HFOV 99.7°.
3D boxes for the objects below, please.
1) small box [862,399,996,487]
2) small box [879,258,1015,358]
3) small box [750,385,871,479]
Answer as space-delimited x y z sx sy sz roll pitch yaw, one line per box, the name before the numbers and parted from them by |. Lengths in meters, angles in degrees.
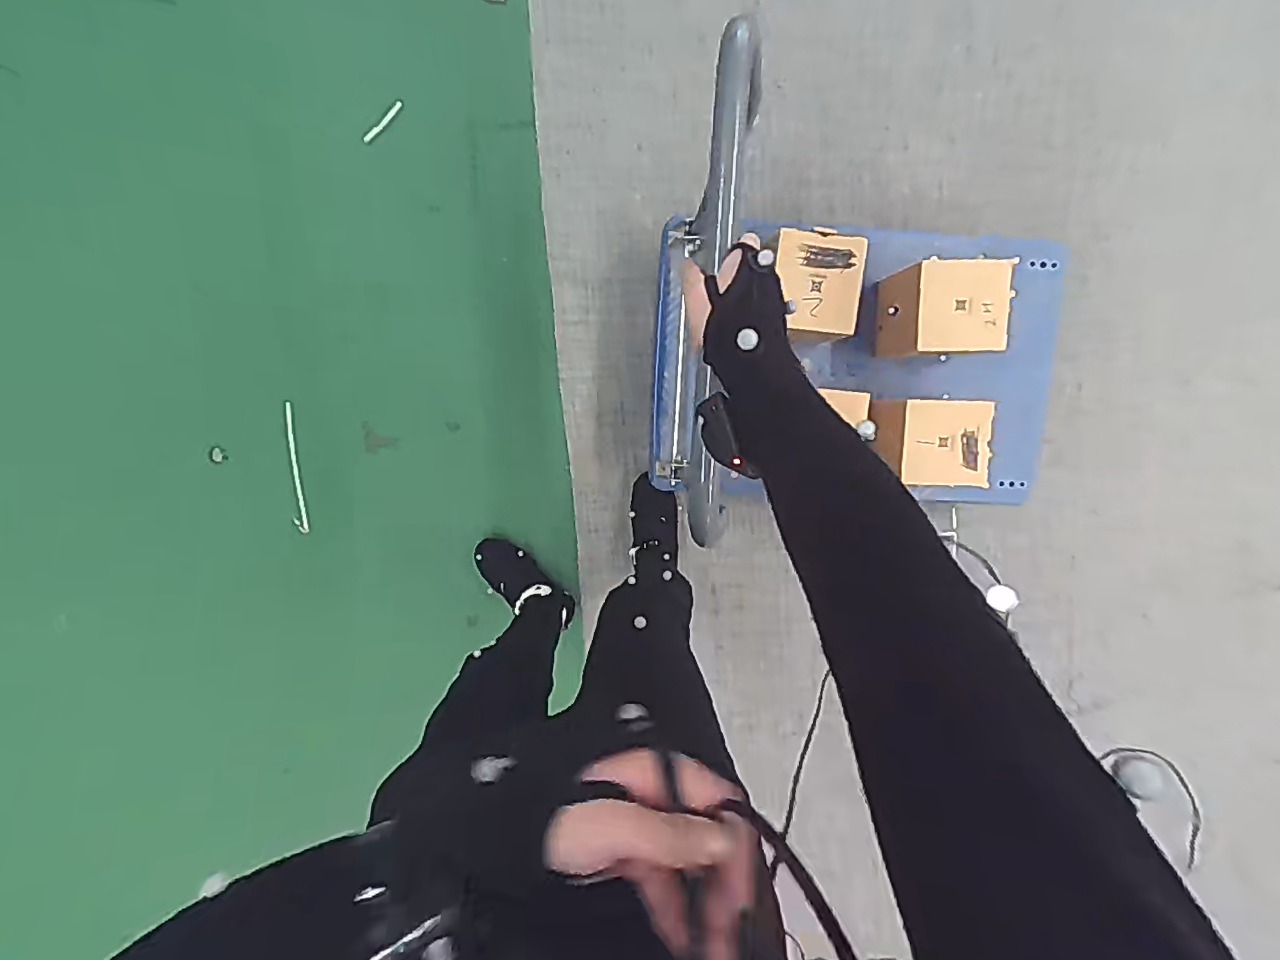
small box | 0.584 -0.081 1.110 0.179 0.176 0.168 2 97 -2
small box | 0.598 -0.334 1.076 0.179 0.176 0.168 0 98 -2
small box | 0.337 -0.101 1.097 0.179 0.176 0.168 5 97 -2
